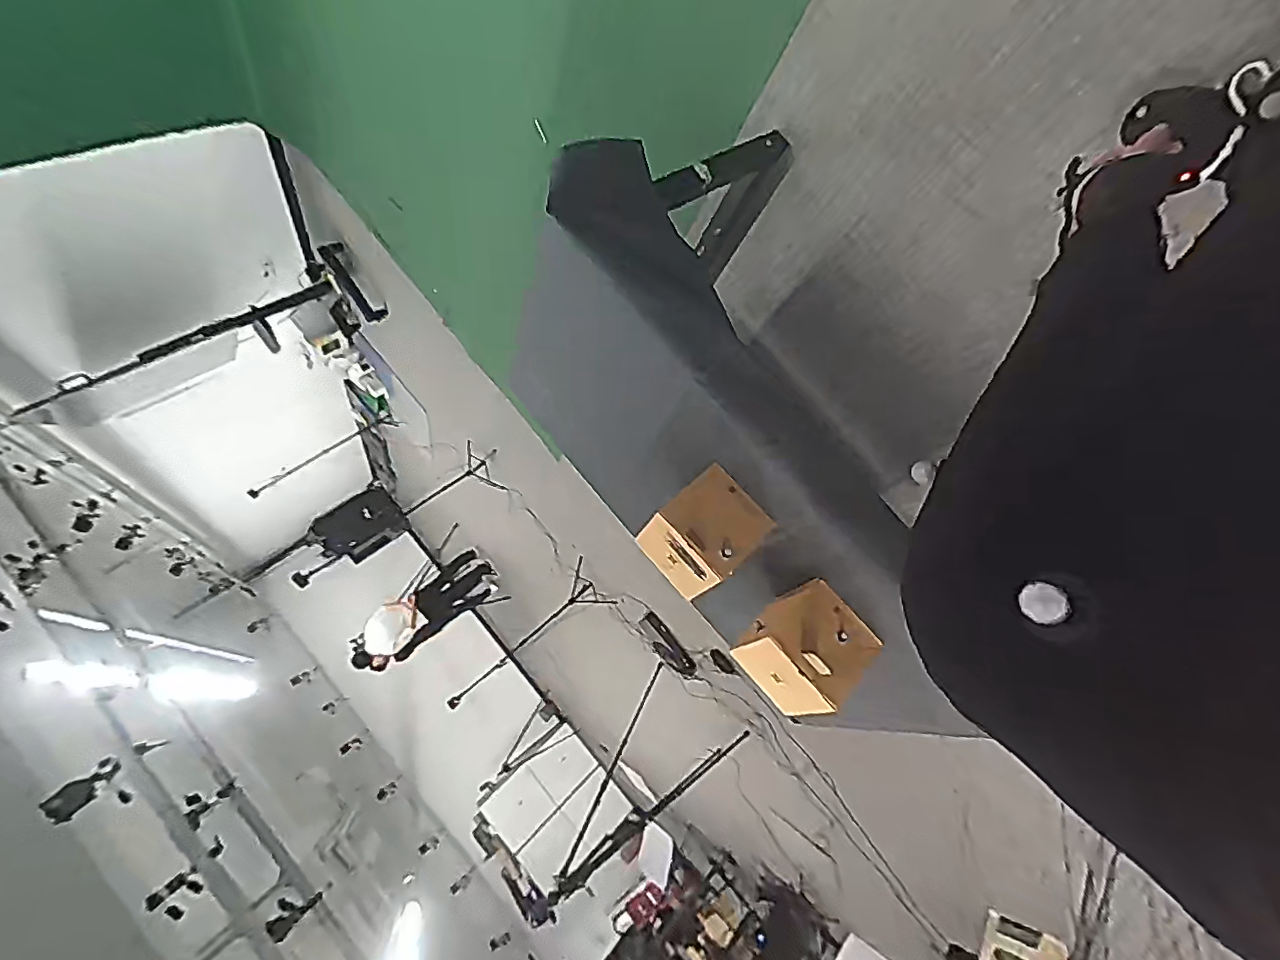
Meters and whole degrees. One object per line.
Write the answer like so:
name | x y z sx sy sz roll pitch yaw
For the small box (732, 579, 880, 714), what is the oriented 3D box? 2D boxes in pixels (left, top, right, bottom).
small box | 0.313 0.316 1.026 0.168 0.176 0.179 48 151 9
